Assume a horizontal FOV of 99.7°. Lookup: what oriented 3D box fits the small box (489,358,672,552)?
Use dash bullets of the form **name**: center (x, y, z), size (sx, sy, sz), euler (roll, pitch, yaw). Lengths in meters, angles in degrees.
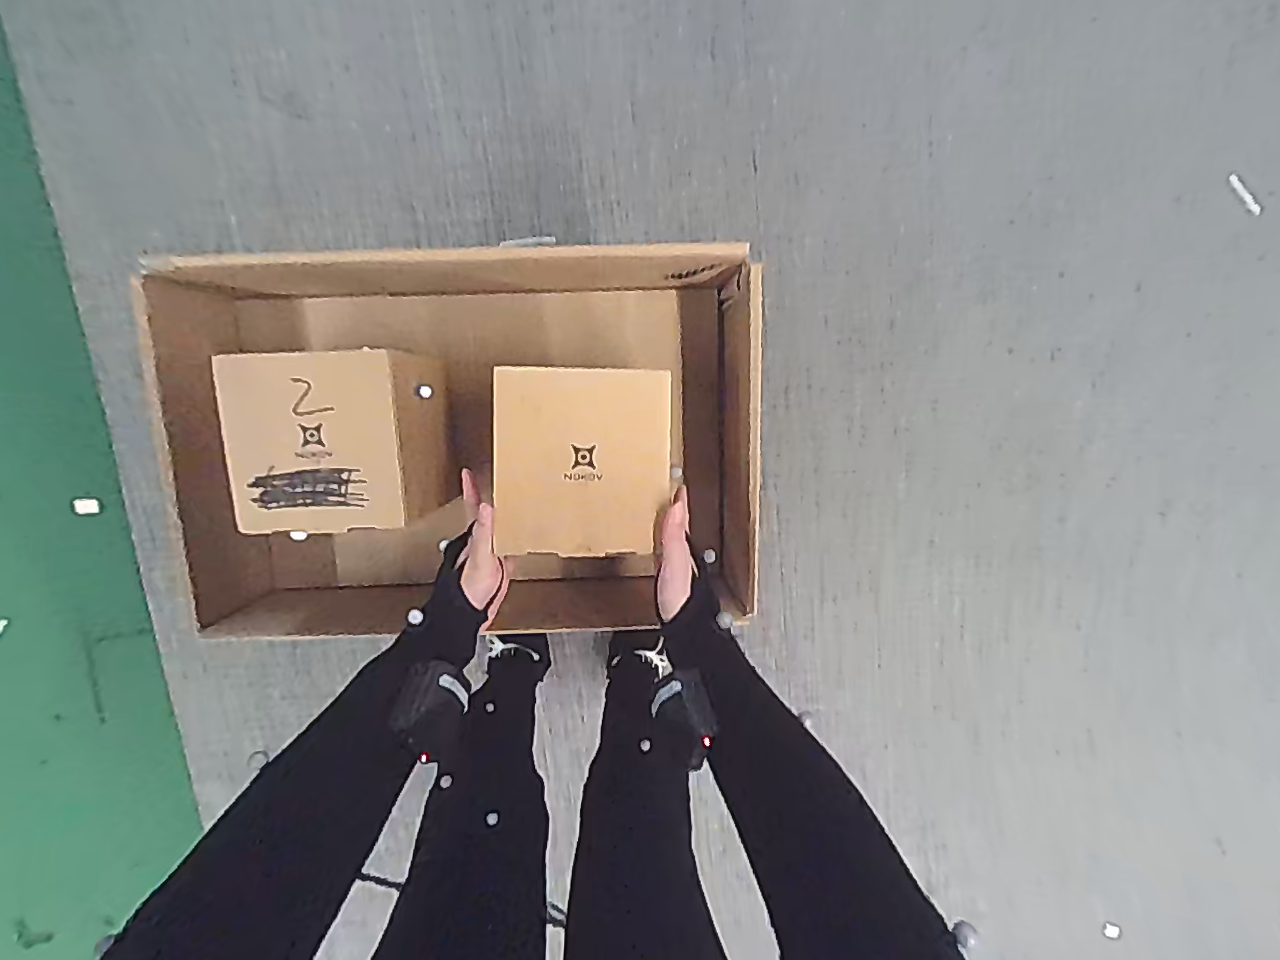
- **small box**: center (-0.062, -0.023, 0.572), size (0.168, 0.176, 0.179), euler (1, 92, -6)
